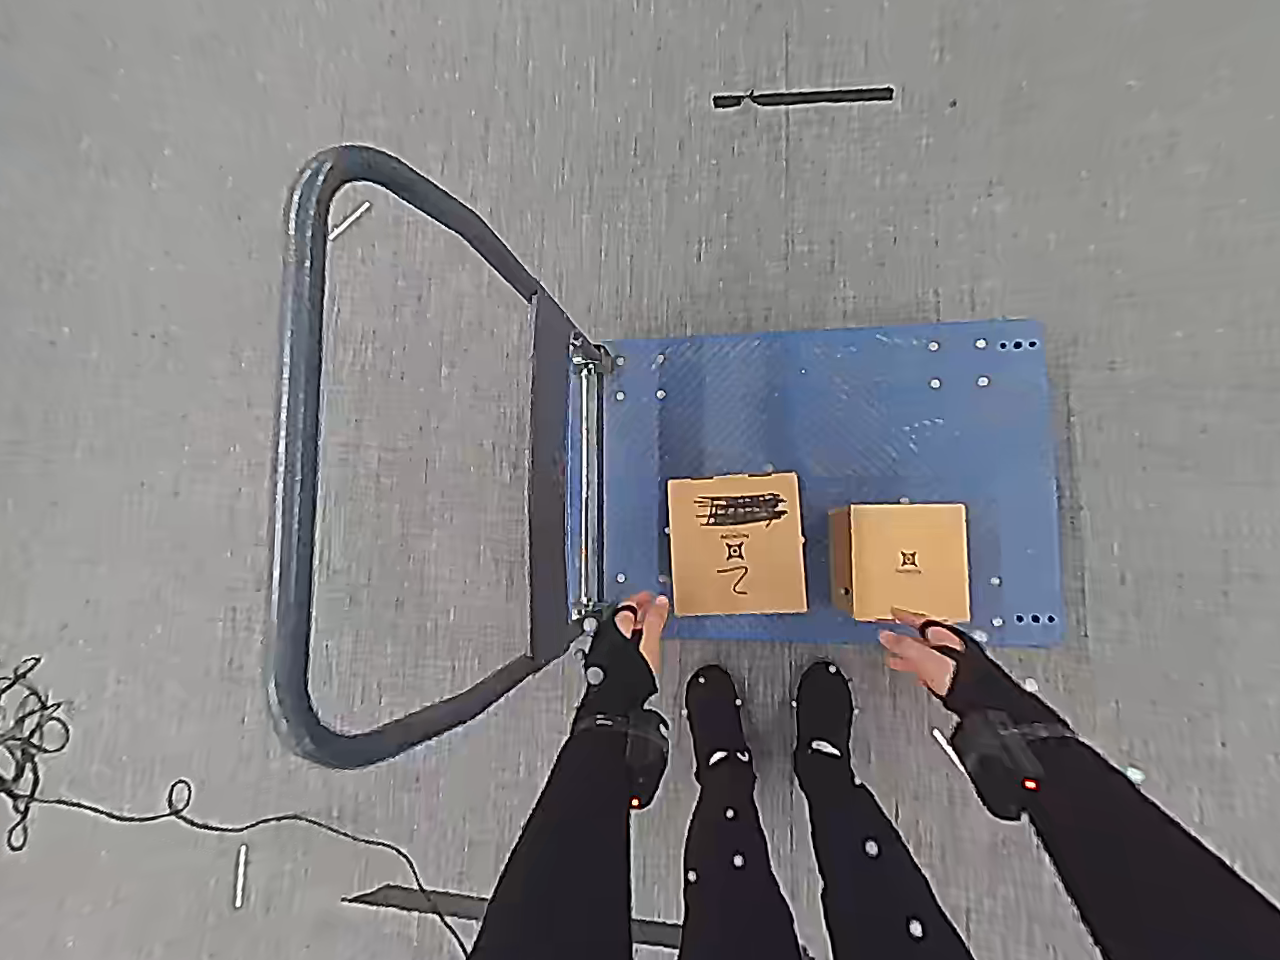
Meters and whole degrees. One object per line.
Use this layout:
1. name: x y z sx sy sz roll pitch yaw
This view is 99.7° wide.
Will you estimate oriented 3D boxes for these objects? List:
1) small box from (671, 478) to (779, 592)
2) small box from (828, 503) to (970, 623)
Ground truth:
1. small box: 0.141 0.094 0.921 0.168 0.176 0.179 -2 85 8
2. small box: 0.409 0.130 0.881 0.168 0.176 0.179 -1 85 8
